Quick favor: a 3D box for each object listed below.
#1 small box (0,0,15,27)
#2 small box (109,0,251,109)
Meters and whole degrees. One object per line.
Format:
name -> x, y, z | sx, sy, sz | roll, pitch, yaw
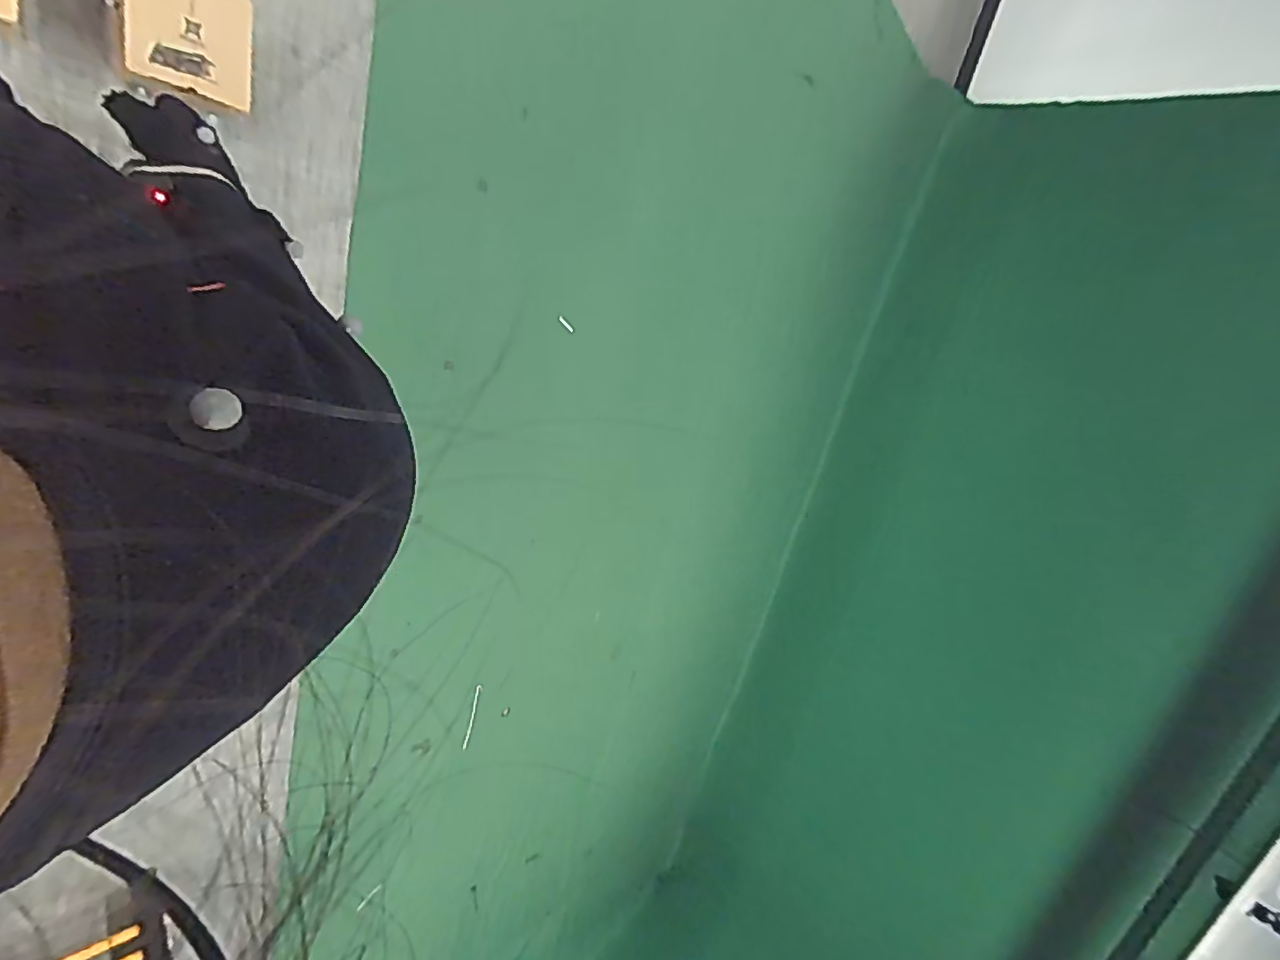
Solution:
small box -> -0.971, -0.764, 0.730 | 0.168, 0.176, 0.179 | 0, 113, -49
small box -> -0.792, -0.769, 0.930 | 0.168, 0.176, 0.179 | -4, 115, -47
